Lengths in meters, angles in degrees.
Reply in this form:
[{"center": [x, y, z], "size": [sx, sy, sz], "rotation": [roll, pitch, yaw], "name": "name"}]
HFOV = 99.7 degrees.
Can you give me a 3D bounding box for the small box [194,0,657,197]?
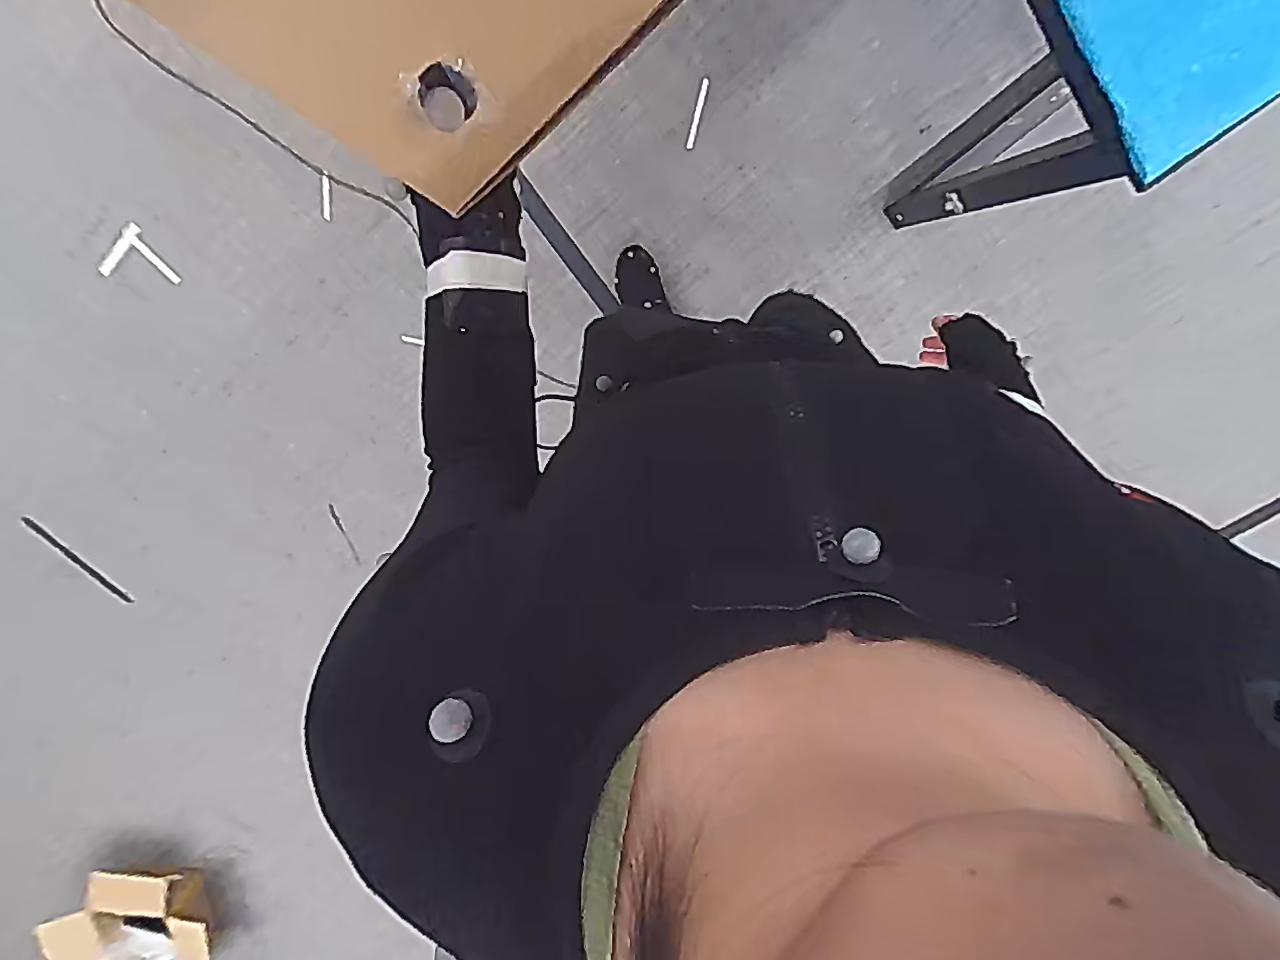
[{"center": [-0.092, -0.259, 0.194], "size": [0.179, 0.176, 0.168], "rotation": [-27, 66, 28], "name": "small box"}]
